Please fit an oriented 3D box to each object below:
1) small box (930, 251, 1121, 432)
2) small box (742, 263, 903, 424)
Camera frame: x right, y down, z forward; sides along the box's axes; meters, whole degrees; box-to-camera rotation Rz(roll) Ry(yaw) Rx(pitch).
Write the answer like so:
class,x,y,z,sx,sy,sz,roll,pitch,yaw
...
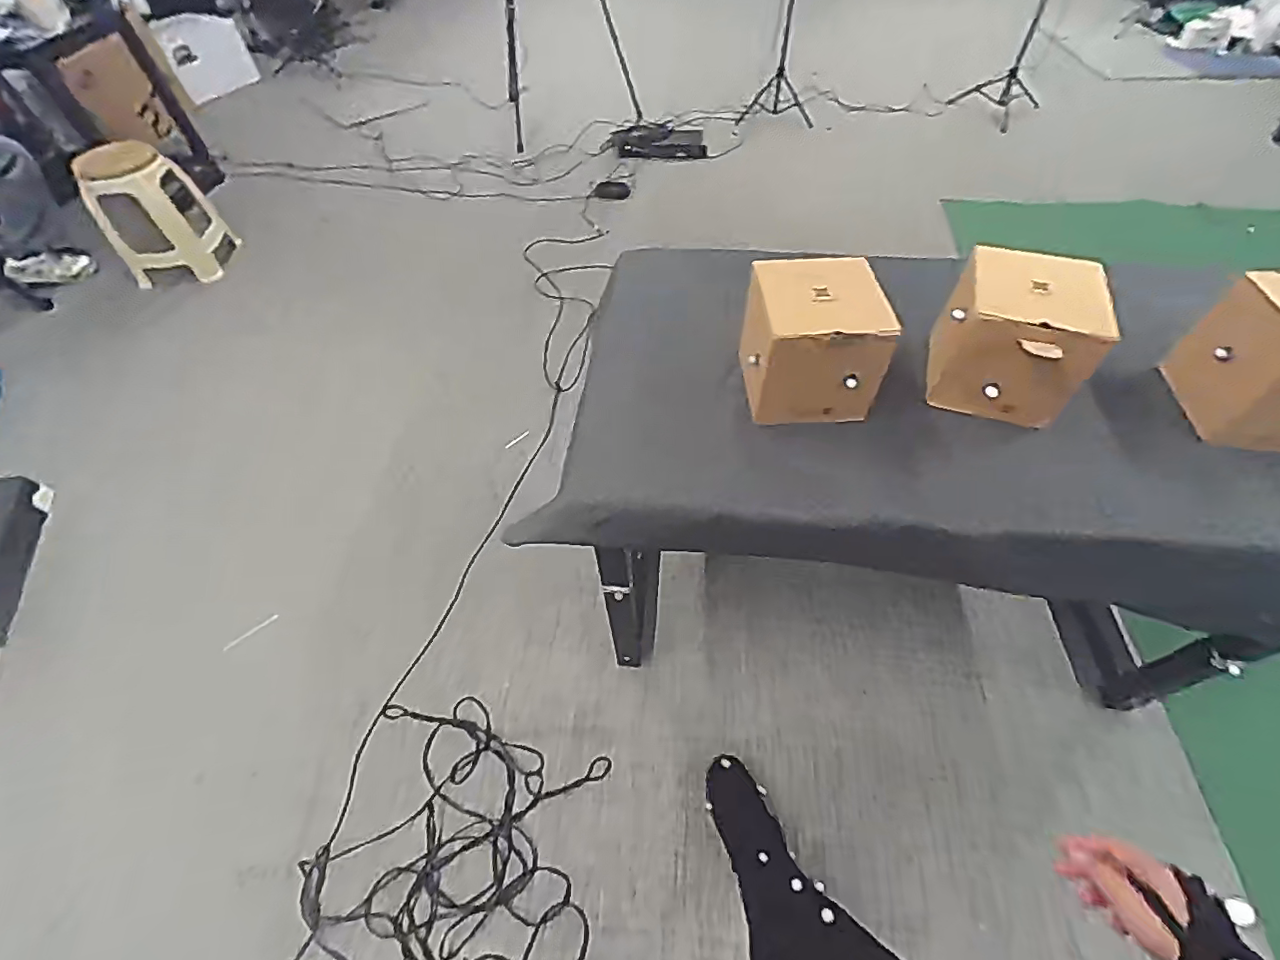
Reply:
class,x,y,z,sx,sy,sz,roll,pitch,yaw
small box,0.546,-0.201,0.793,0.168,0.176,0.179,16,56,13
small box,0.253,-0.195,0.798,0.168,0.176,0.179,-2,51,-1
